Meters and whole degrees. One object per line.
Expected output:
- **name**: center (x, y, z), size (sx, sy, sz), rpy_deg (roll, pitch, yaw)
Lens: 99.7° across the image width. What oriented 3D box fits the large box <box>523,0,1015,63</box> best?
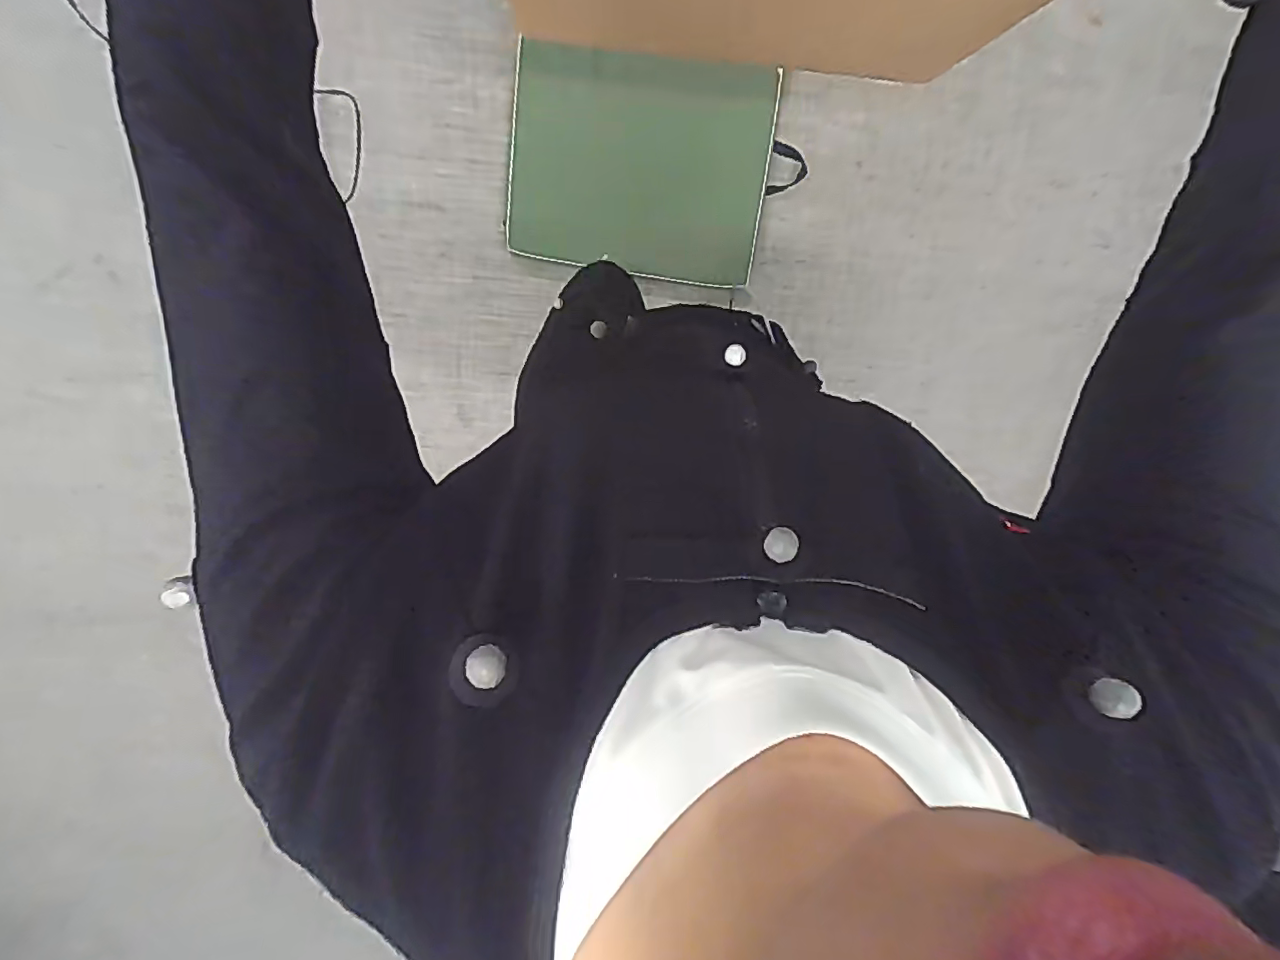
- **large box**: center (0.105, -0.511, 0.338), size (0.408, 0.320, 0.320), rpy_deg (3, 111, -3)
